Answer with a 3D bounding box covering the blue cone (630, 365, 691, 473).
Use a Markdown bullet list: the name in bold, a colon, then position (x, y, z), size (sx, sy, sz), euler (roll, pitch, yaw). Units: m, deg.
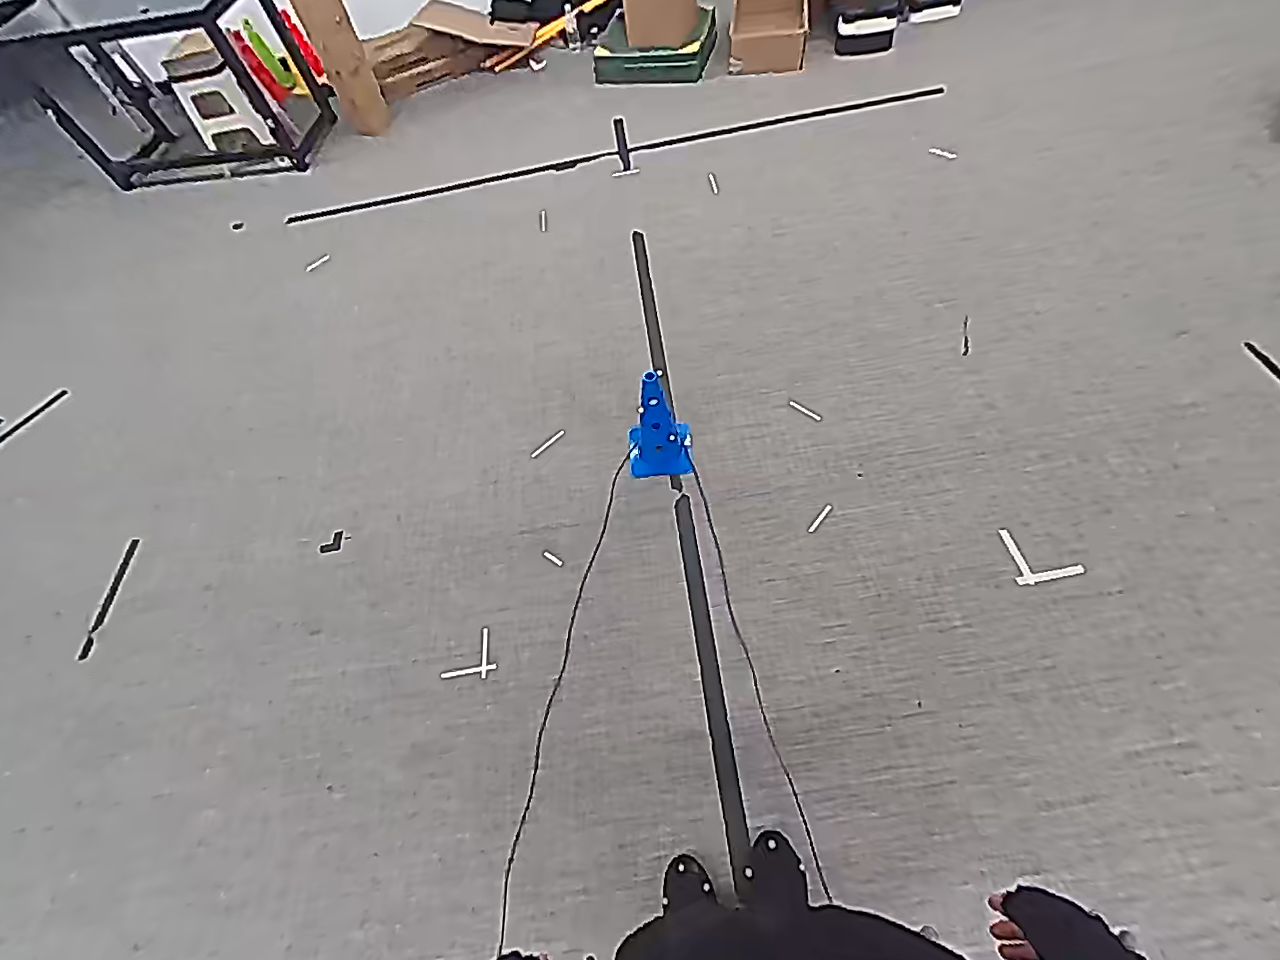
- **blue cone**: position (0.044, -0.192, 1.596), size (0.193, 0.380, 0.192), euler (-7, 59, 5)
